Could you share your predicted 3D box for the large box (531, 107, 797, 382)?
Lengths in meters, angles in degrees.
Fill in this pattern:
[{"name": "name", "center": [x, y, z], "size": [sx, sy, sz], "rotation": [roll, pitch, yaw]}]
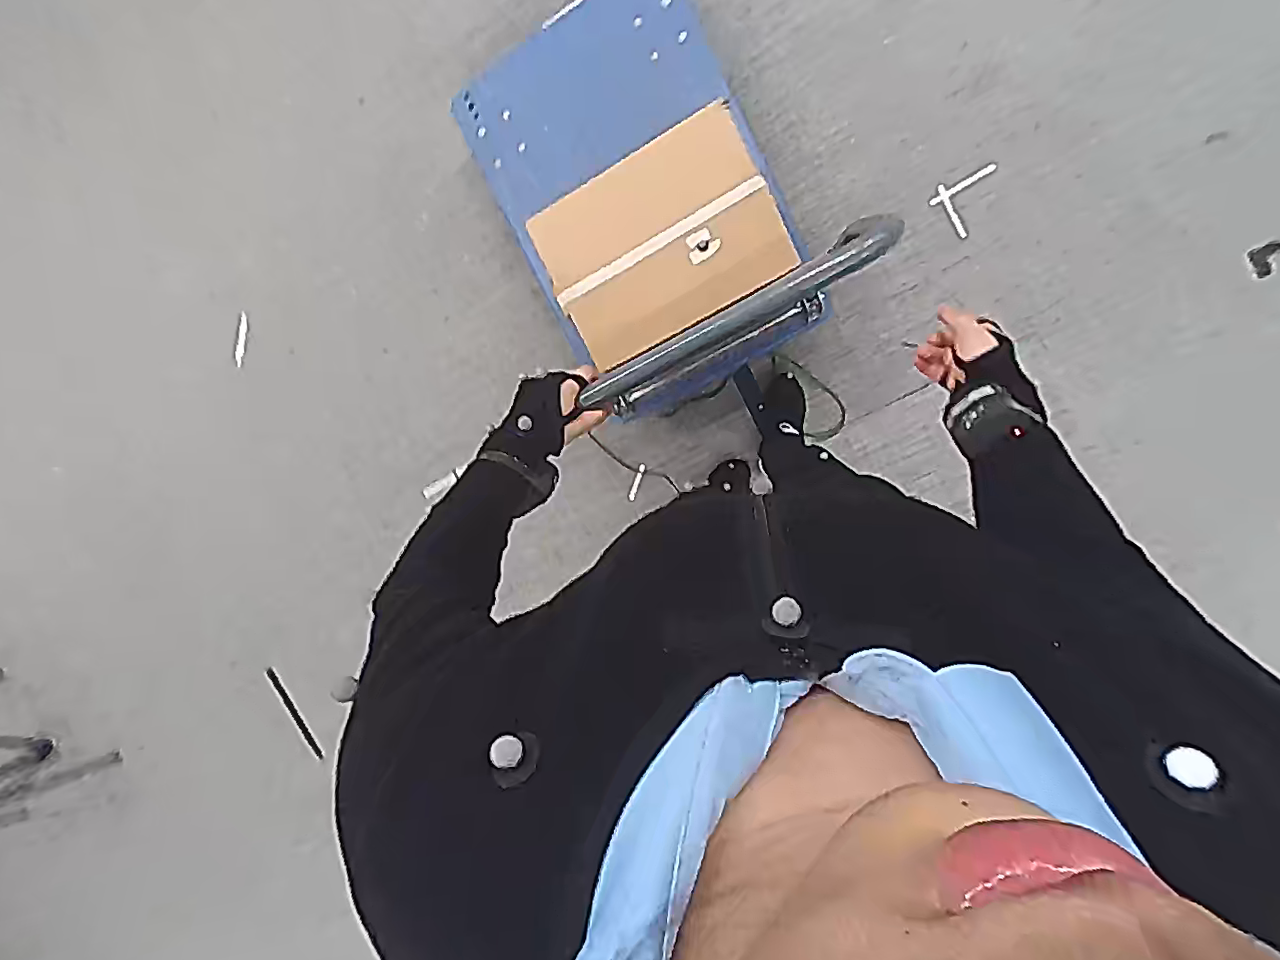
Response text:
[{"name": "large box", "center": [0.057, -0.438, 1.117], "size": [0.408, 0.320, 0.320], "rotation": [-27, 94, 11]}]
